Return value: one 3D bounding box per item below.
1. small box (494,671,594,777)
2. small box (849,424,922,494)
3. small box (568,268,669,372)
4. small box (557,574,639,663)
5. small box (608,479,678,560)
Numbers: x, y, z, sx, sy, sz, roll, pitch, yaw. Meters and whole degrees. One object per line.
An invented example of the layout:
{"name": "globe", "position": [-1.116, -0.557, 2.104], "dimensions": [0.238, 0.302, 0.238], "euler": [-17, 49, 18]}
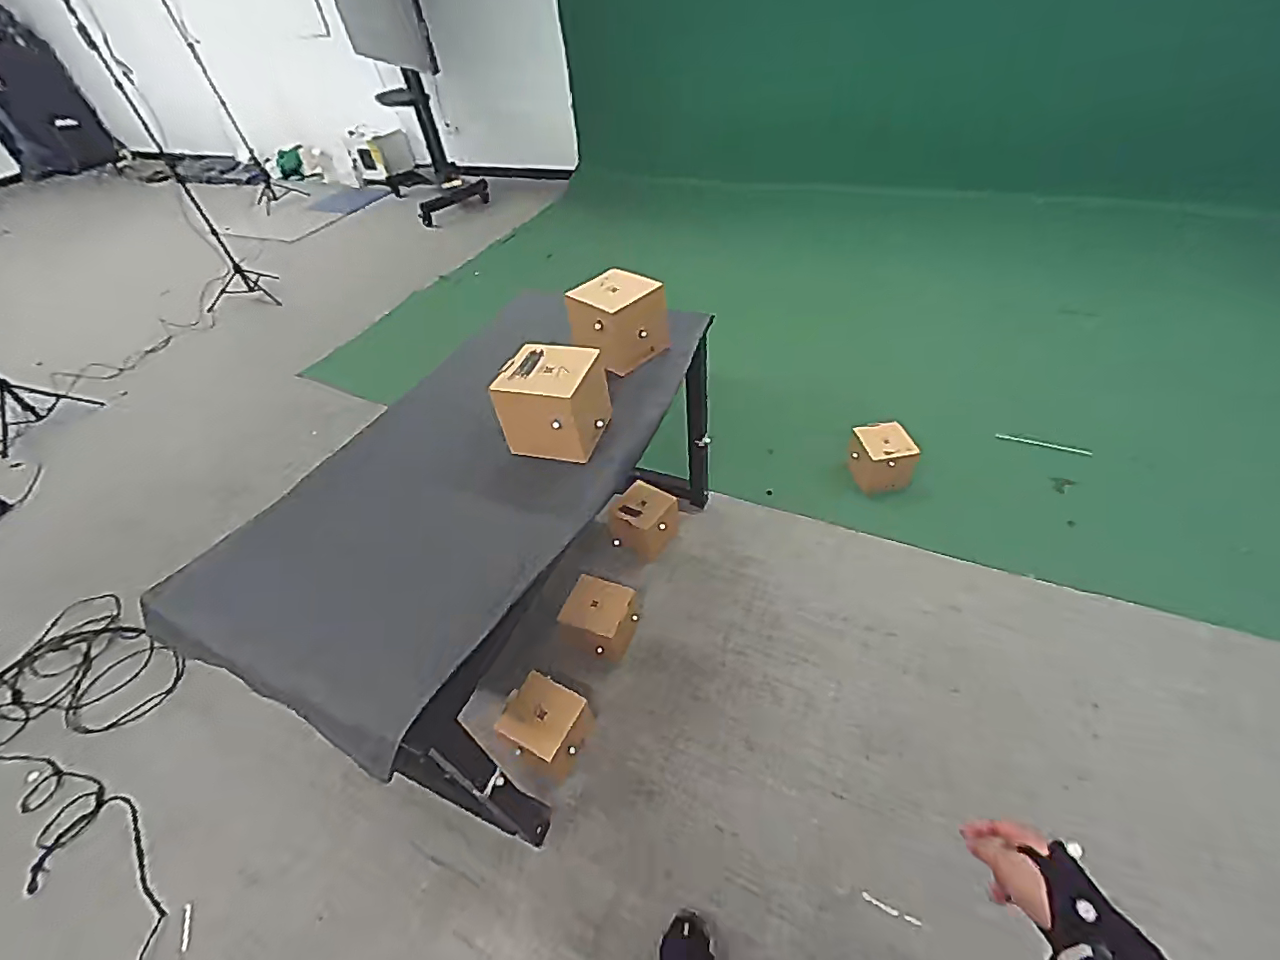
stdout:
{"name": "small box", "position": [-0.235, 0.626, 1.376], "dimensions": [0.179, 0.176, 0.168], "euler": [18, 51, 24]}
{"name": "small box", "position": [0.863, -0.075, 1.924], "dimensions": [0.168, 0.176, 0.179], "euler": [-9, 45, -1]}
{"name": "small box", "position": [-0.045, -0.384, 1.308], "dimensions": [0.168, 0.176, 0.179], "euler": [-37, 50, -26]}
{"name": "small box", "position": [-0.113, 0.407, 1.572], "dimensions": [0.179, 0.176, 0.168], "euler": [13, 48, 20]}
{"name": "small box", "position": [0.018, 0.136, 1.818], "dimensions": [0.168, 0.176, 0.179], "euler": [27, 53, 28]}
